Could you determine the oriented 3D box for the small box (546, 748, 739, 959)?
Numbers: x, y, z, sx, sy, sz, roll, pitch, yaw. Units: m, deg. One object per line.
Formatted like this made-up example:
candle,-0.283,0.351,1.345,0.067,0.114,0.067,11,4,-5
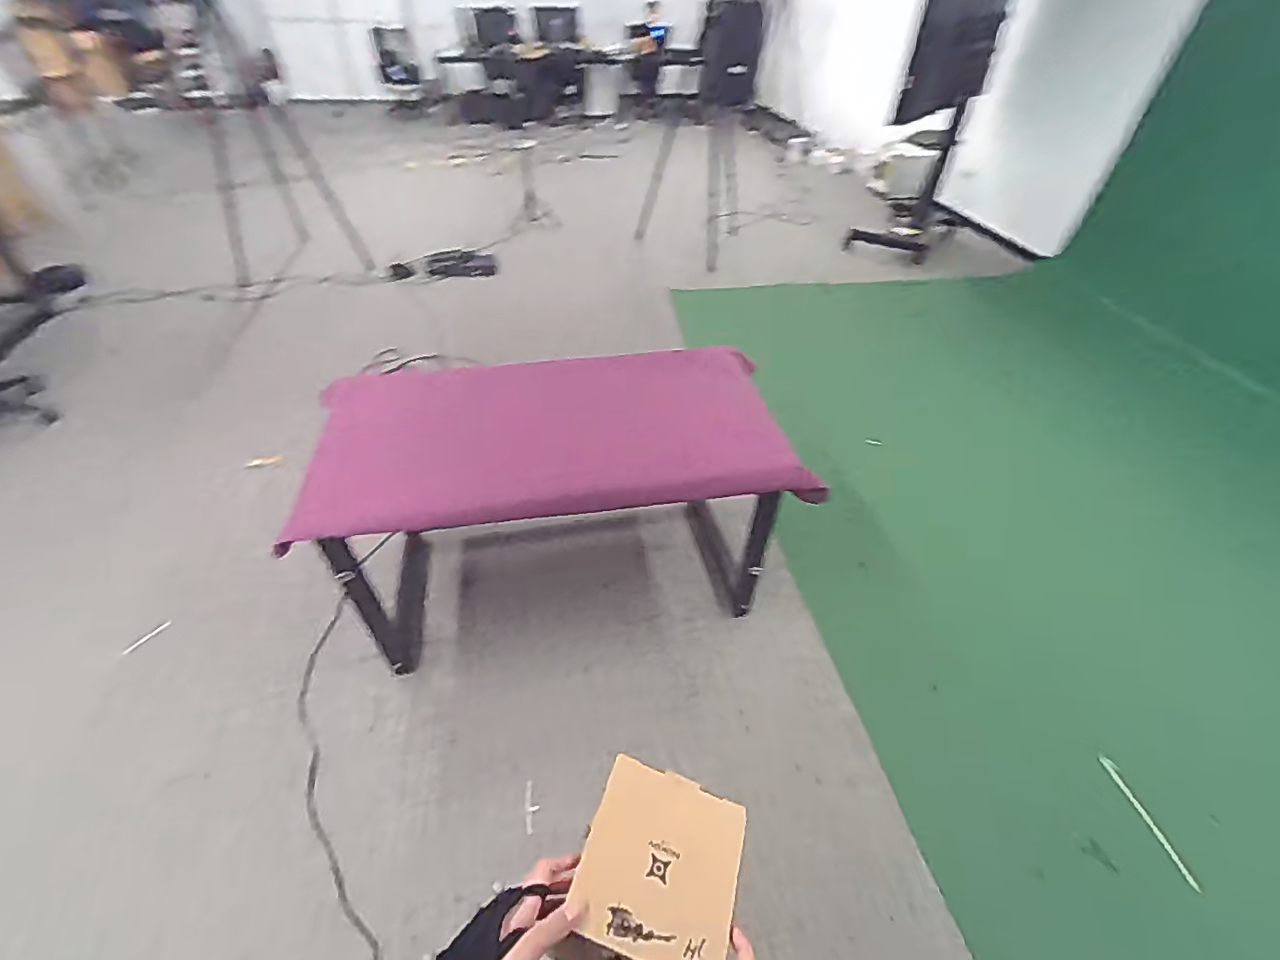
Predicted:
small box,0.001,0.455,0.622,0.168,0.176,0.179,19,40,6
